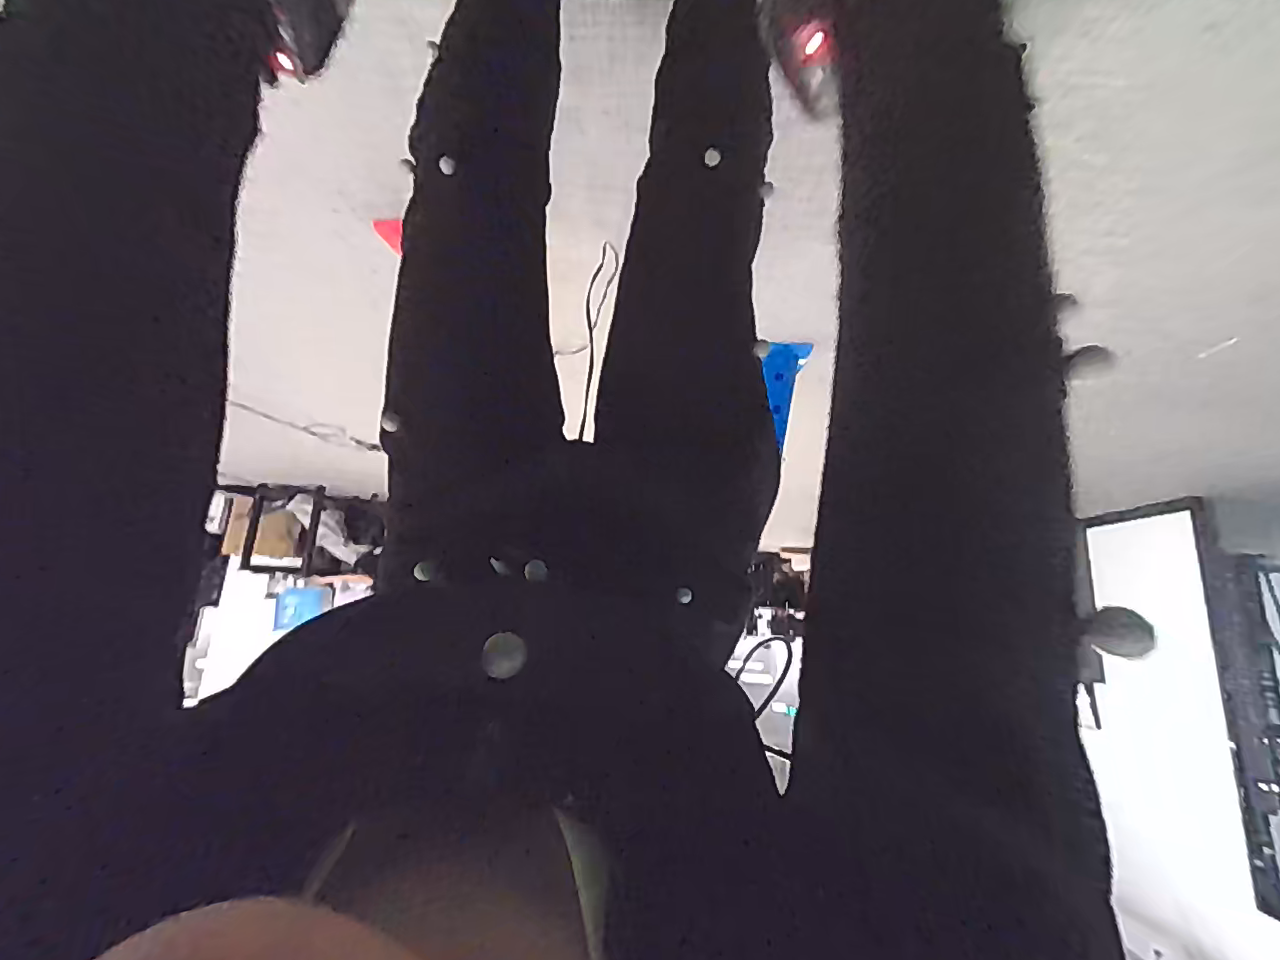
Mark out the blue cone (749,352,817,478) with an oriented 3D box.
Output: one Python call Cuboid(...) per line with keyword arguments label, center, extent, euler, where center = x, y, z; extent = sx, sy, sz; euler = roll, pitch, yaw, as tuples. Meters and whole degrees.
Cuboid(label="blue cone", center=(0.432, -0.194, 1.645), extent=(0.192, 0.380, 0.193), euler=(3, 166, 3))
